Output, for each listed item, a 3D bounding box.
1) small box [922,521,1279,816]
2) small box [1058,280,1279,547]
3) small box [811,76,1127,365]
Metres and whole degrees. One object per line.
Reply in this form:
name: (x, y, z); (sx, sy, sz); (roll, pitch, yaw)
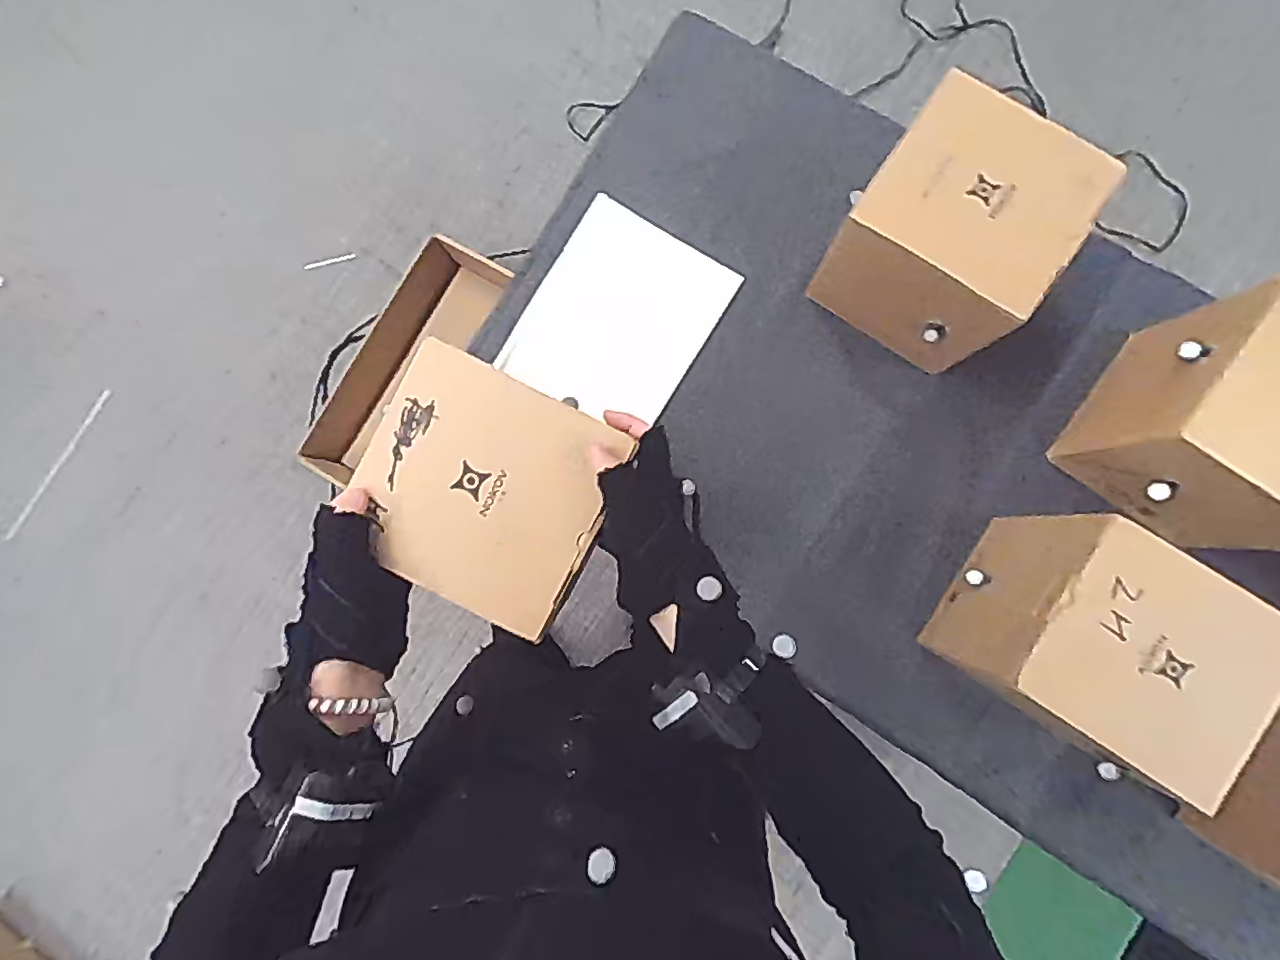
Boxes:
small box: (0.412, 0.152, 0.503); (0.179, 0.176, 0.168); (34, 87, 7)
small box: (0.556, -0.047, 0.515); (0.168, 0.176, 0.179); (37, 88, 6)
small box: (0.306, -0.237, 0.547); (0.179, 0.176, 0.168); (36, 88, 5)
